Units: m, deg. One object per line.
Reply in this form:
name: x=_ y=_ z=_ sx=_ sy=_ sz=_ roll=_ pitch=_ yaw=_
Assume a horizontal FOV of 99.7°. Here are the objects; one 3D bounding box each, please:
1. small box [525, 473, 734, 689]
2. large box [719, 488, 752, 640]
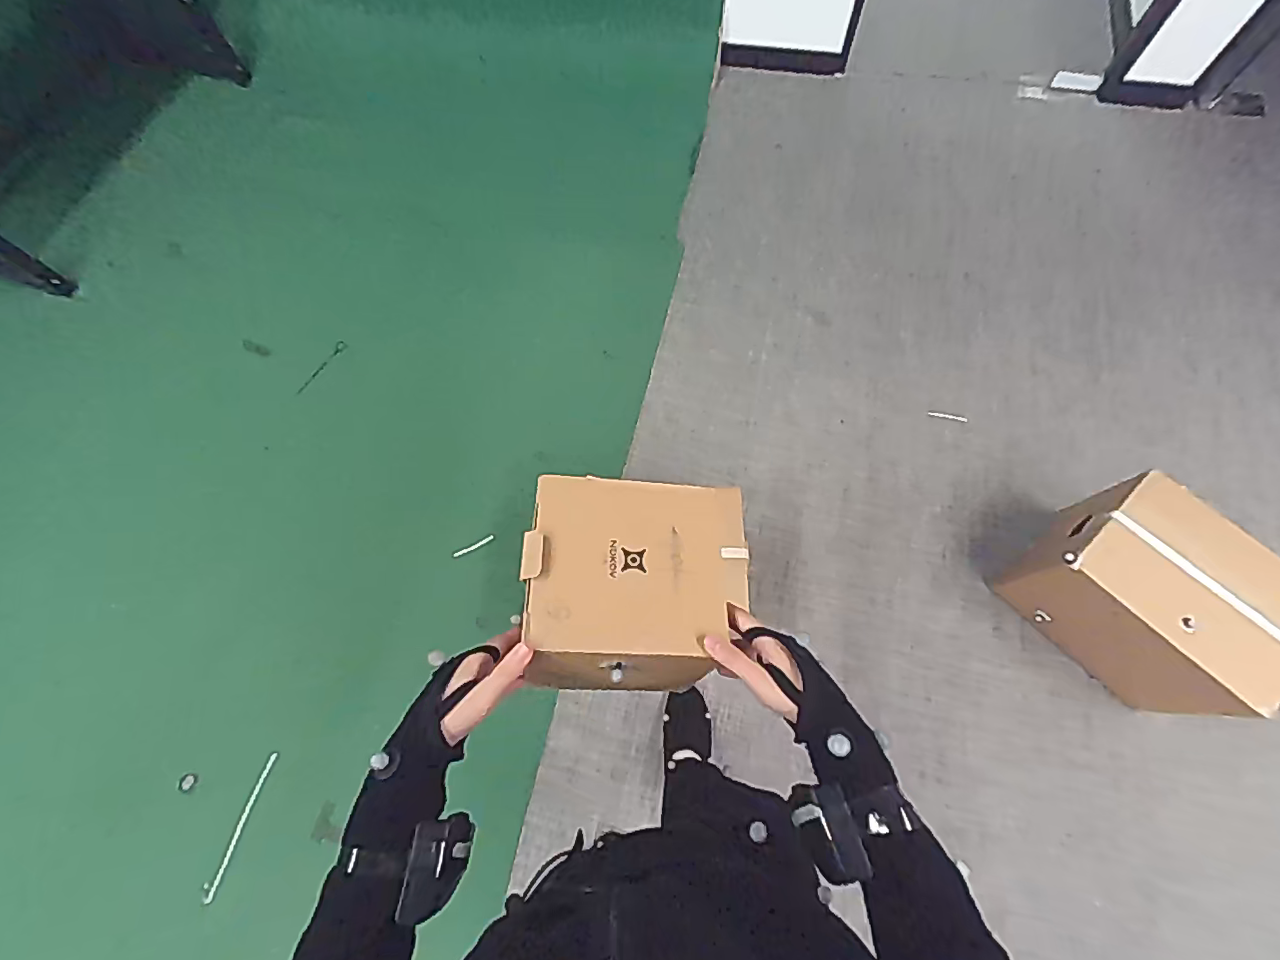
small box: x=-0.019 y=0.110 z=0.549 sx=0.179 sy=0.176 sz=0.168 roll=5 pitch=58 yaw=-9
large box: x=0.041 y=0.221 z=1.293 sx=0.408 sy=0.320 sz=0.320 roll=-2 pitch=68 yaw=4
